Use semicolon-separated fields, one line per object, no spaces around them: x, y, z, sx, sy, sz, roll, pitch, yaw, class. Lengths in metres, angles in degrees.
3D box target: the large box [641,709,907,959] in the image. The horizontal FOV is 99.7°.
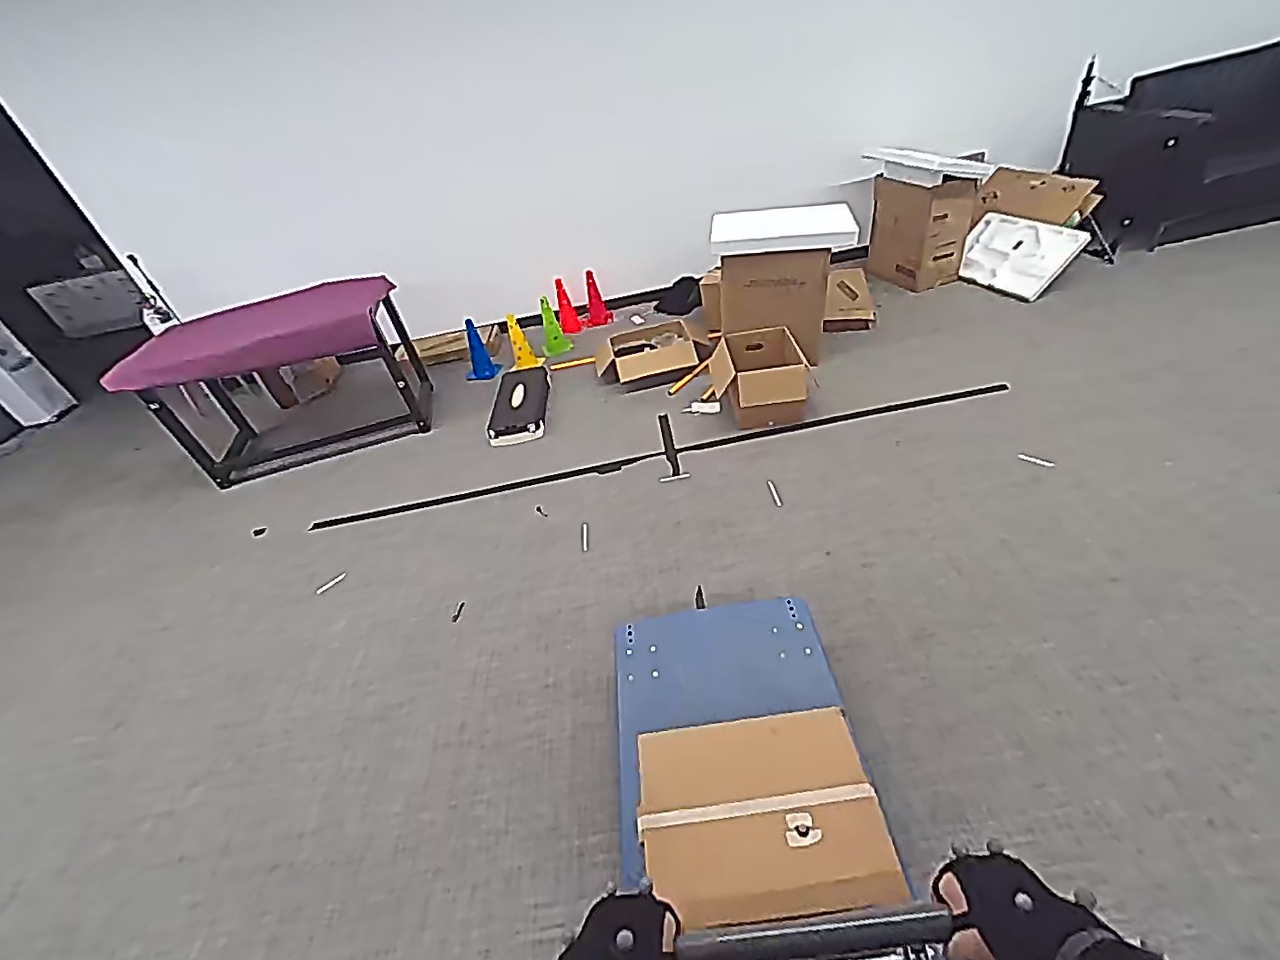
0.228;0.694;1.047;0.408;0.320;0.320;-9;40;2;large box
